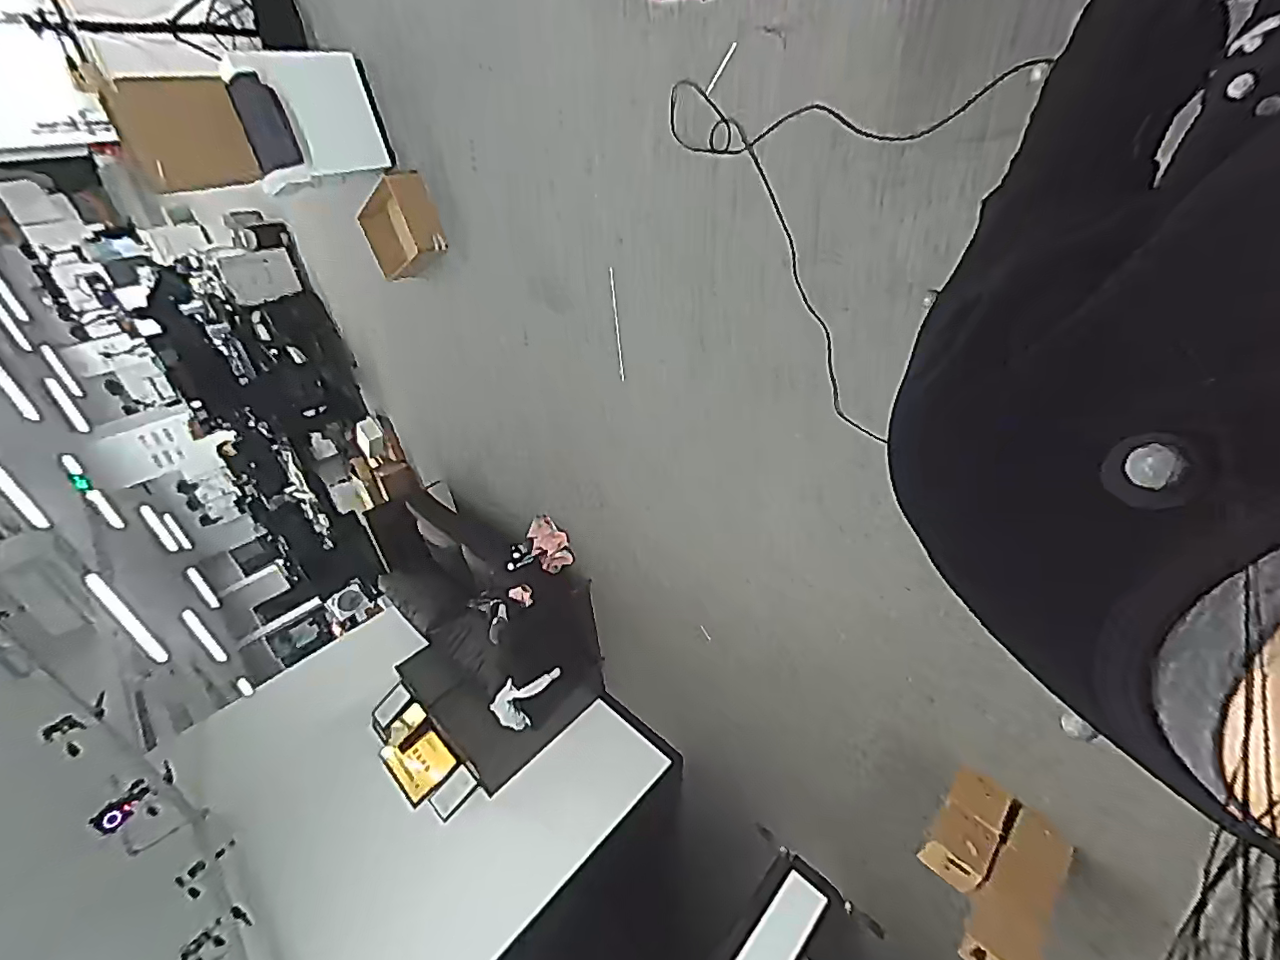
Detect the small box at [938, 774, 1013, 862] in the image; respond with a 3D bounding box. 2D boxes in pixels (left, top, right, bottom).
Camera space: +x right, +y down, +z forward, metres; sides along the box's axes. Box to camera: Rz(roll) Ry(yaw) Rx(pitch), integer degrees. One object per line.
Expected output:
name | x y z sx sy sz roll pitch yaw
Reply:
small box | 1.215 1.218 1.954 0.168 0.176 0.179 26 133 38
